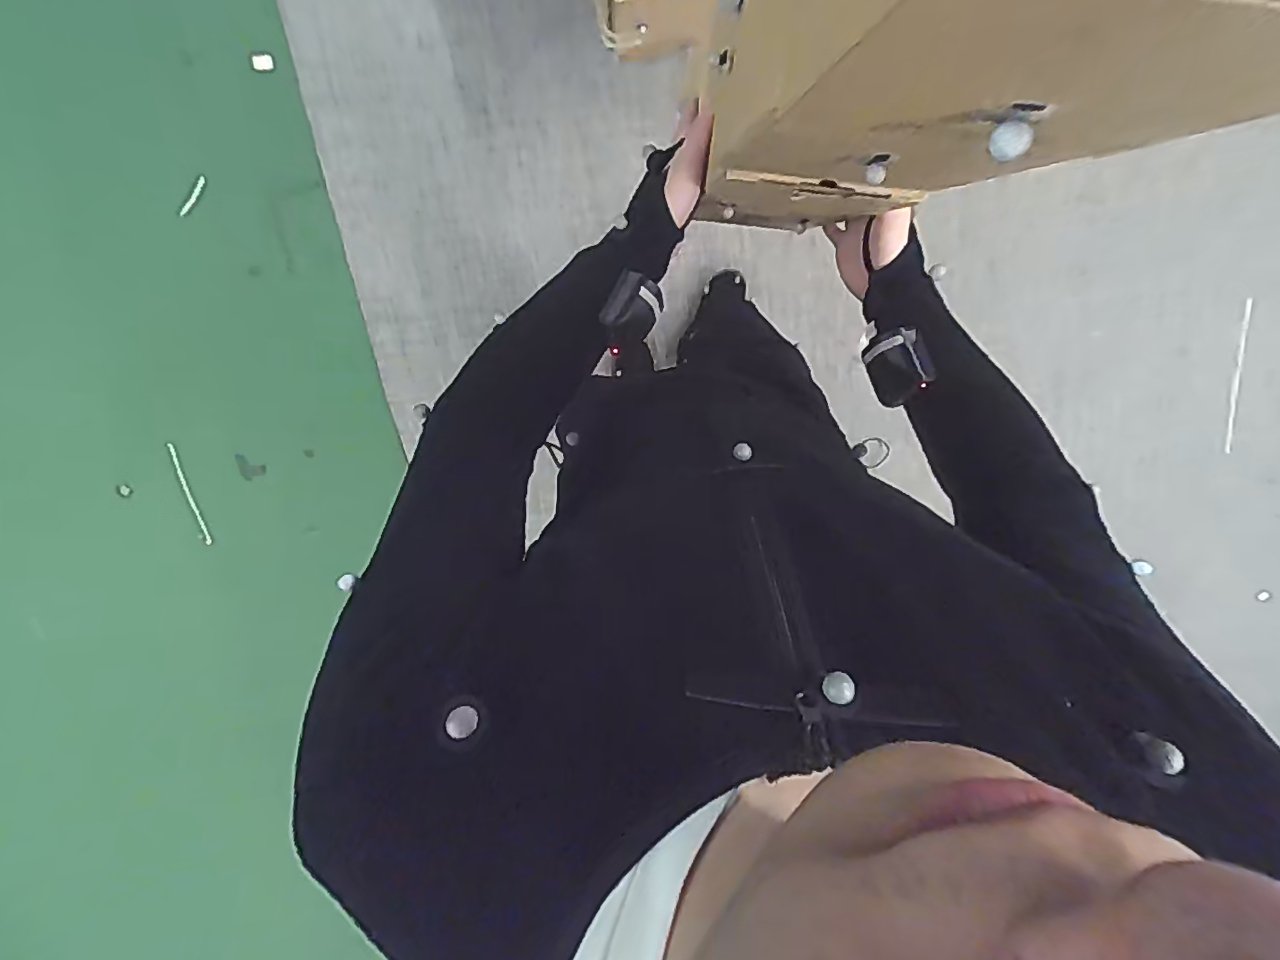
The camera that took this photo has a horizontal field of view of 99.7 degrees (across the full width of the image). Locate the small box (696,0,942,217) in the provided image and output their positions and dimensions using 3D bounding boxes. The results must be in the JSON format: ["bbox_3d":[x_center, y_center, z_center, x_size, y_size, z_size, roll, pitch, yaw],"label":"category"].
[{"bbox_3d":[0.147,-0.333,0.460,0.168,0.176,0.179,4,110,-5],"label":"small box"}]

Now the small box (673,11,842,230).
[{"bbox_3d":[0.136,-0.386,0.615,0.179,0.176,0.168,3,110,-5],"label":"small box"}]

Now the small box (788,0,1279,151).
[{"bbox_3d":[0.154,-0.217,0.152,0.168,0.176,0.179,3,111,-3],"label":"small box"}]
